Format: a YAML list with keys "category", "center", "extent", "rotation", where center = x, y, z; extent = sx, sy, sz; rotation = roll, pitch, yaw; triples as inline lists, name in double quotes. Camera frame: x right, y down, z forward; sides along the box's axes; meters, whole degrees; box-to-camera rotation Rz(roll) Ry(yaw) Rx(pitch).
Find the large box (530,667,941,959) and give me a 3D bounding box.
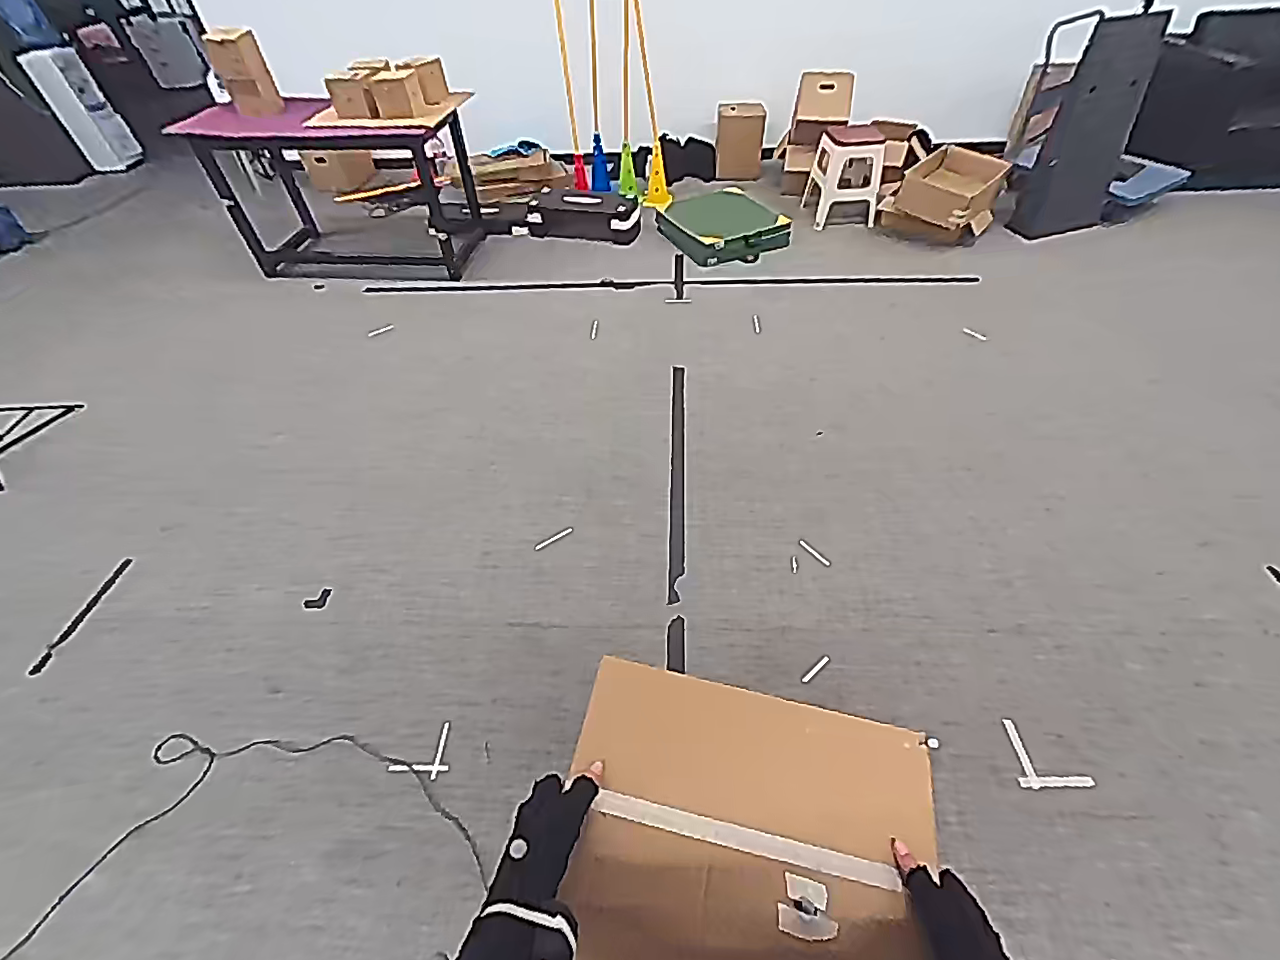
- category: "large box"
  center: [0.110, 0.485, 0.704]
  extent: [0.408, 0.320, 0.320]
  rotation: [12, 54, 7]
